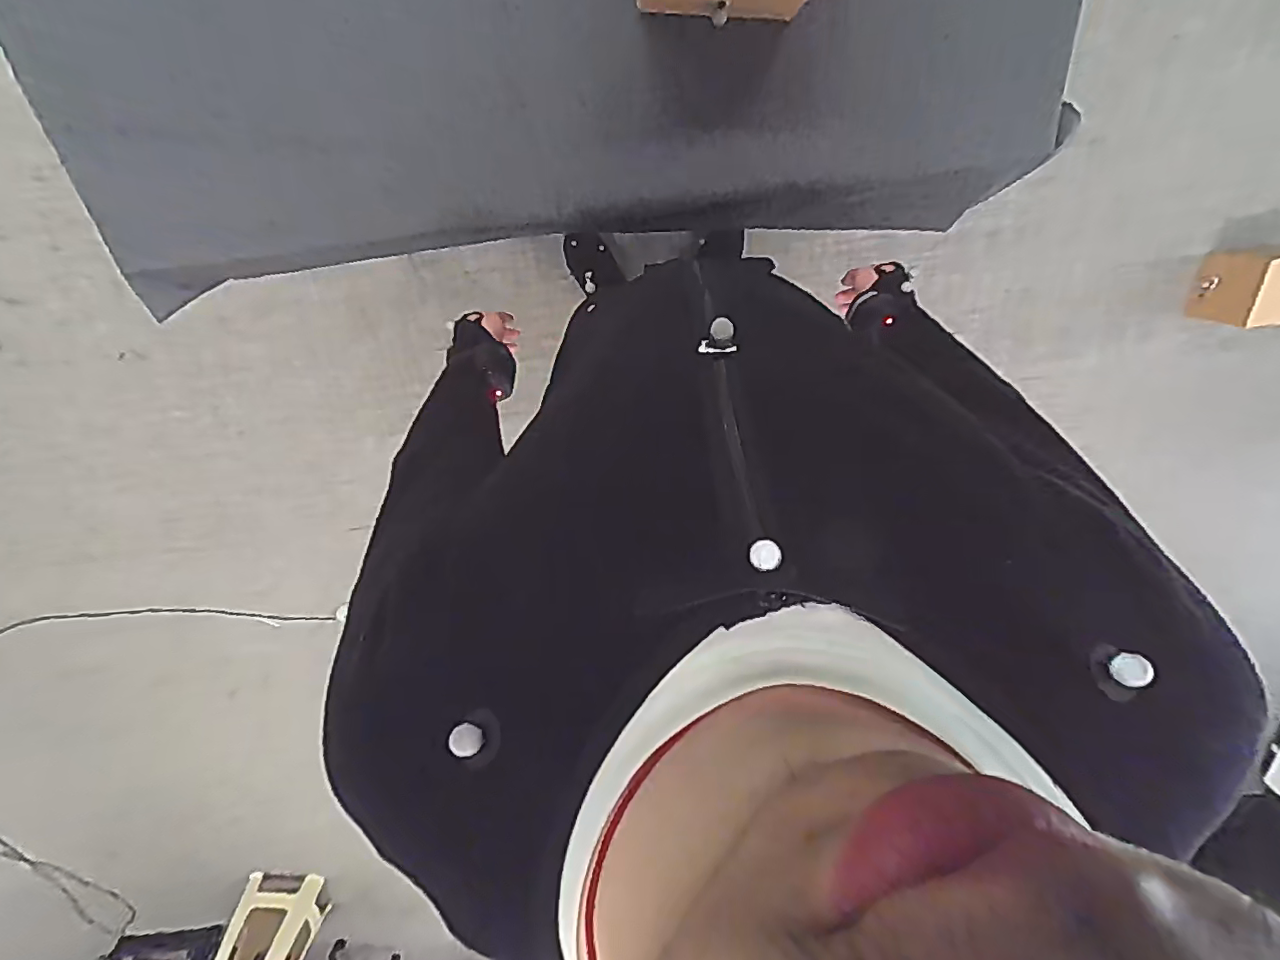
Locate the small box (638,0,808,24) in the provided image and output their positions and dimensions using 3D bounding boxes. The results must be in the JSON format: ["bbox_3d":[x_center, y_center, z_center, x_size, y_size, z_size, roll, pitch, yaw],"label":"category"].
[{"bbox_3d":[0.089,-0.550,0.500,0.179,0.176,0.168,1,118,-2],"label":"small box"}]

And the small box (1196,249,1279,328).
[{"bbox_3d":[1.594,-0.487,1.365,0.179,0.176,0.168,-4,116,1],"label":"small box"}]
